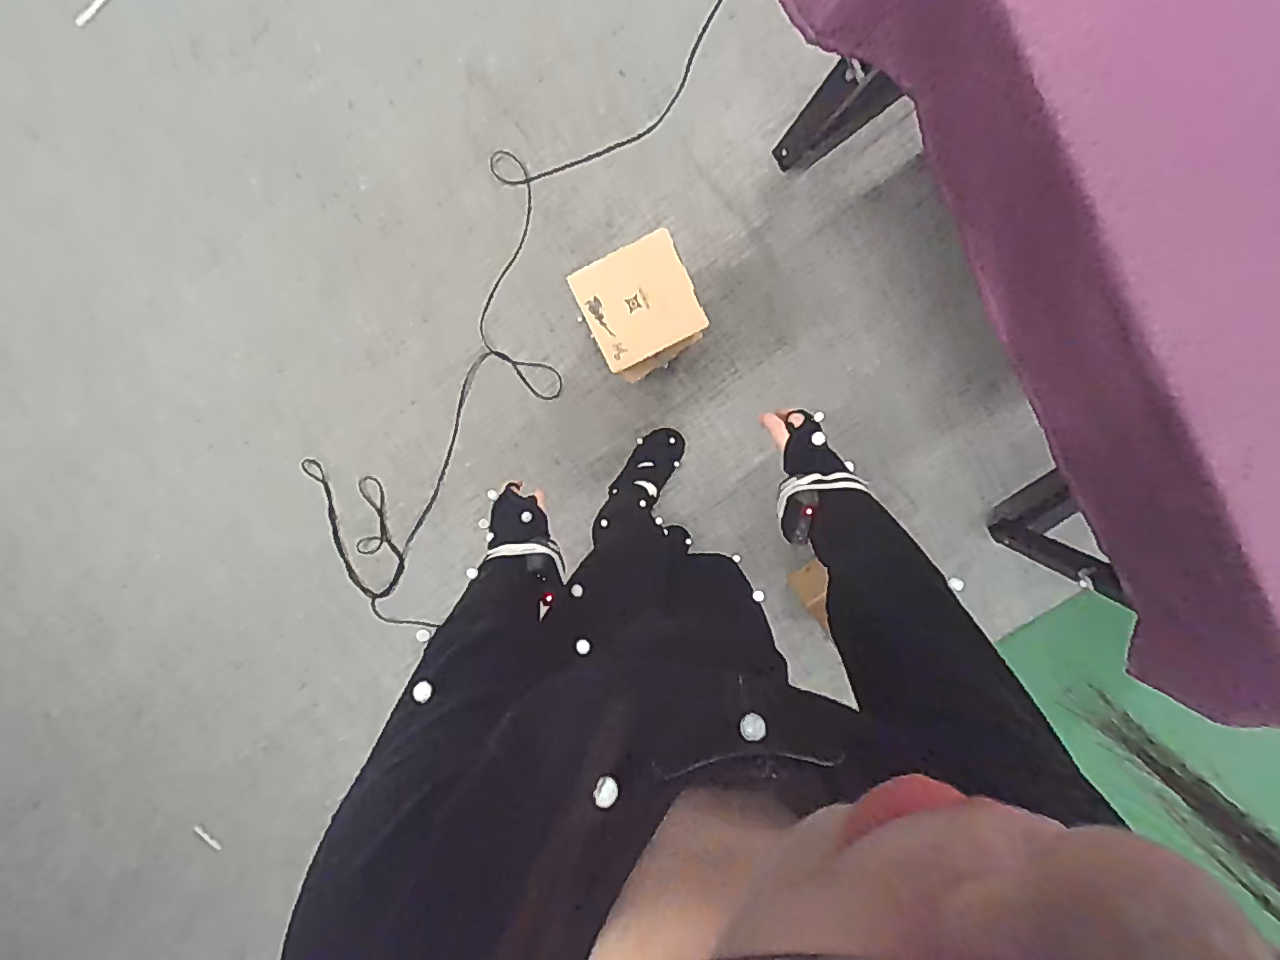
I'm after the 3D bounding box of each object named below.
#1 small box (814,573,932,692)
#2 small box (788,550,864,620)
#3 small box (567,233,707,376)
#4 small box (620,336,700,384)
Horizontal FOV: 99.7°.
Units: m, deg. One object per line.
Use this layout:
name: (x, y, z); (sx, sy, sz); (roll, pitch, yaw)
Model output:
small box: (0.534, 0.352, 1.272); (0.179, 0.176, 0.168); (-35, 104, 6)
small box: (0.521, 0.307, 1.428); (0.168, 0.176, 0.179); (-37, 103, 7)
small box: (-0.008, -0.291, 0.924); (0.179, 0.176, 0.168); (-26, 102, 3)
small box: (-0.003, -0.311, 1.089); (0.168, 0.176, 0.179); (-33, 103, 6)
